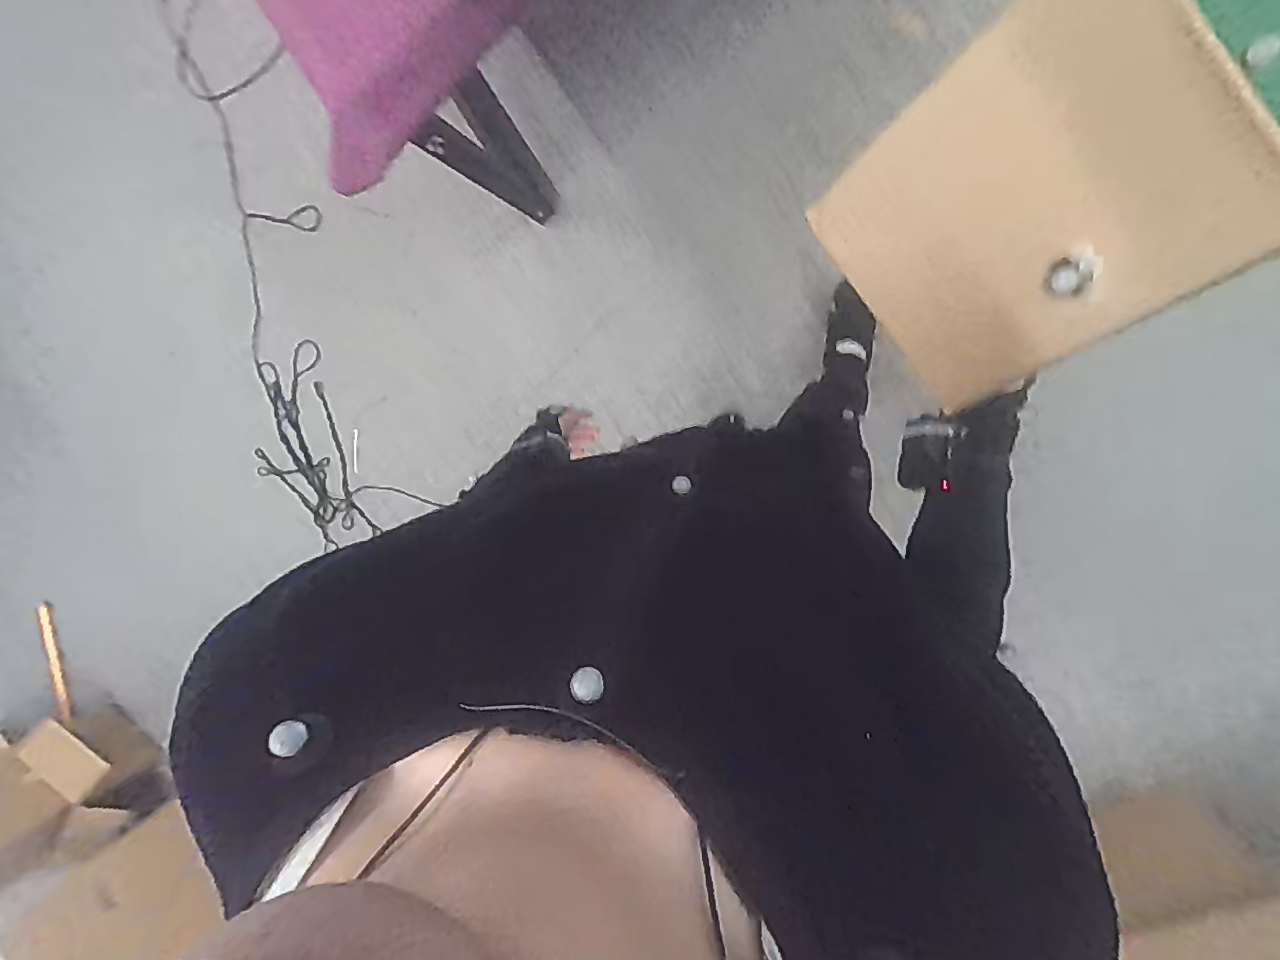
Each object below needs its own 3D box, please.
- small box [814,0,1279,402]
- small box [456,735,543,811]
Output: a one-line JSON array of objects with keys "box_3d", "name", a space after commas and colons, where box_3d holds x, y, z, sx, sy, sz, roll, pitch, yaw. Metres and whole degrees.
[{"box_3d": [0.245, -0.184, 0.329, 0.176, 0.168, 0.179, 53, 140, -1], "name": "small box"}, {"box_3d": [-0.442, 0.951, 1.726, 0.168, 0.176, 0.179, -33, 93, 17], "name": "small box"}]
